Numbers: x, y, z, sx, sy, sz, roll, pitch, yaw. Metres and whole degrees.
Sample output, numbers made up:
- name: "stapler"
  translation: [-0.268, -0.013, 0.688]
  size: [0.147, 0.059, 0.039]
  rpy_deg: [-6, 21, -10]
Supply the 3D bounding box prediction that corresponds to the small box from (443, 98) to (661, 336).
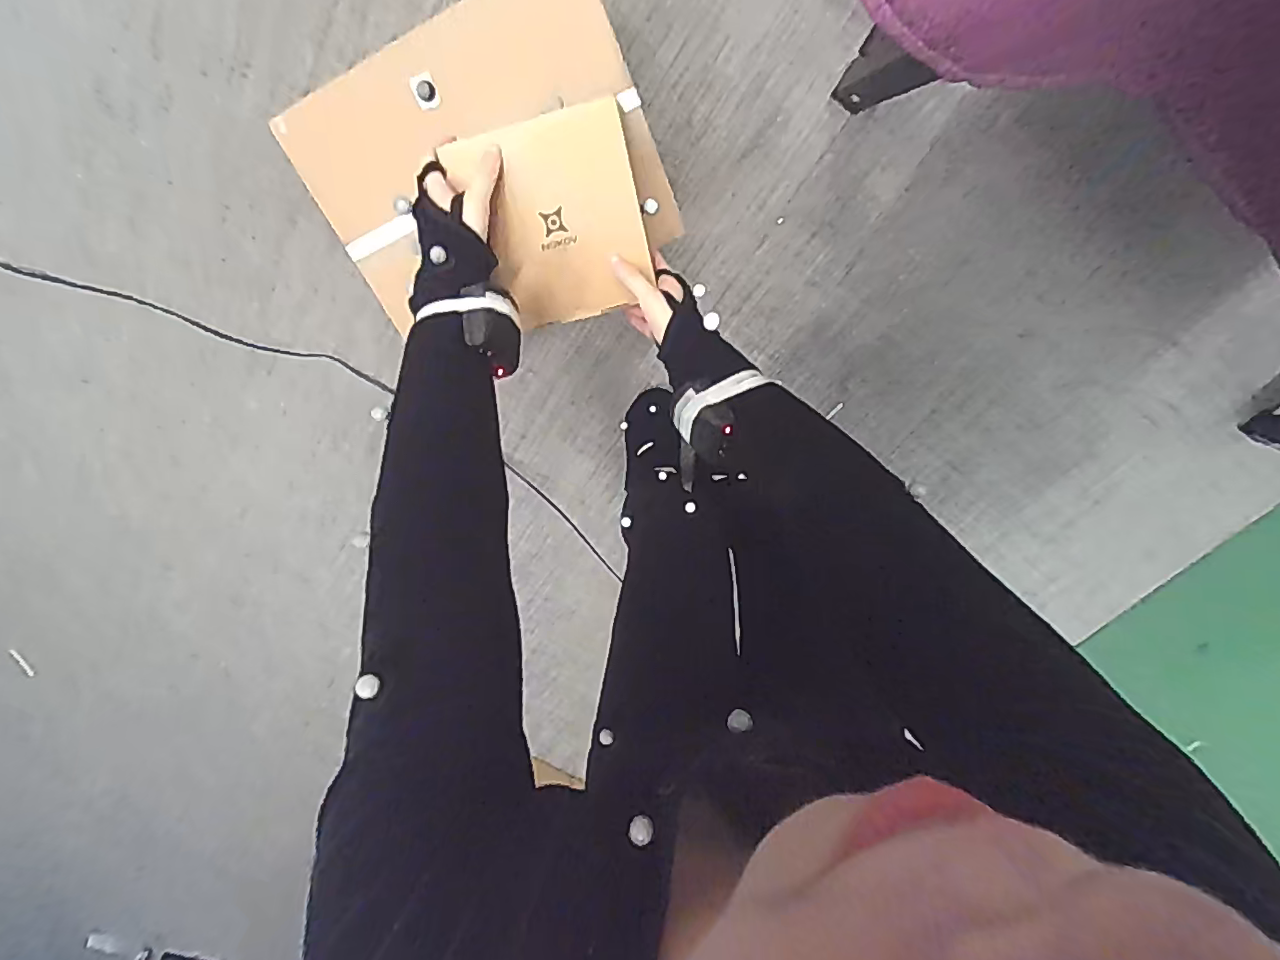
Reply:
- name: "small box"
  translation: [-0.077, -0.279, 0.574]
  size: [0.168, 0.176, 0.179]
  rpy_deg: [-11, 123, 8]
